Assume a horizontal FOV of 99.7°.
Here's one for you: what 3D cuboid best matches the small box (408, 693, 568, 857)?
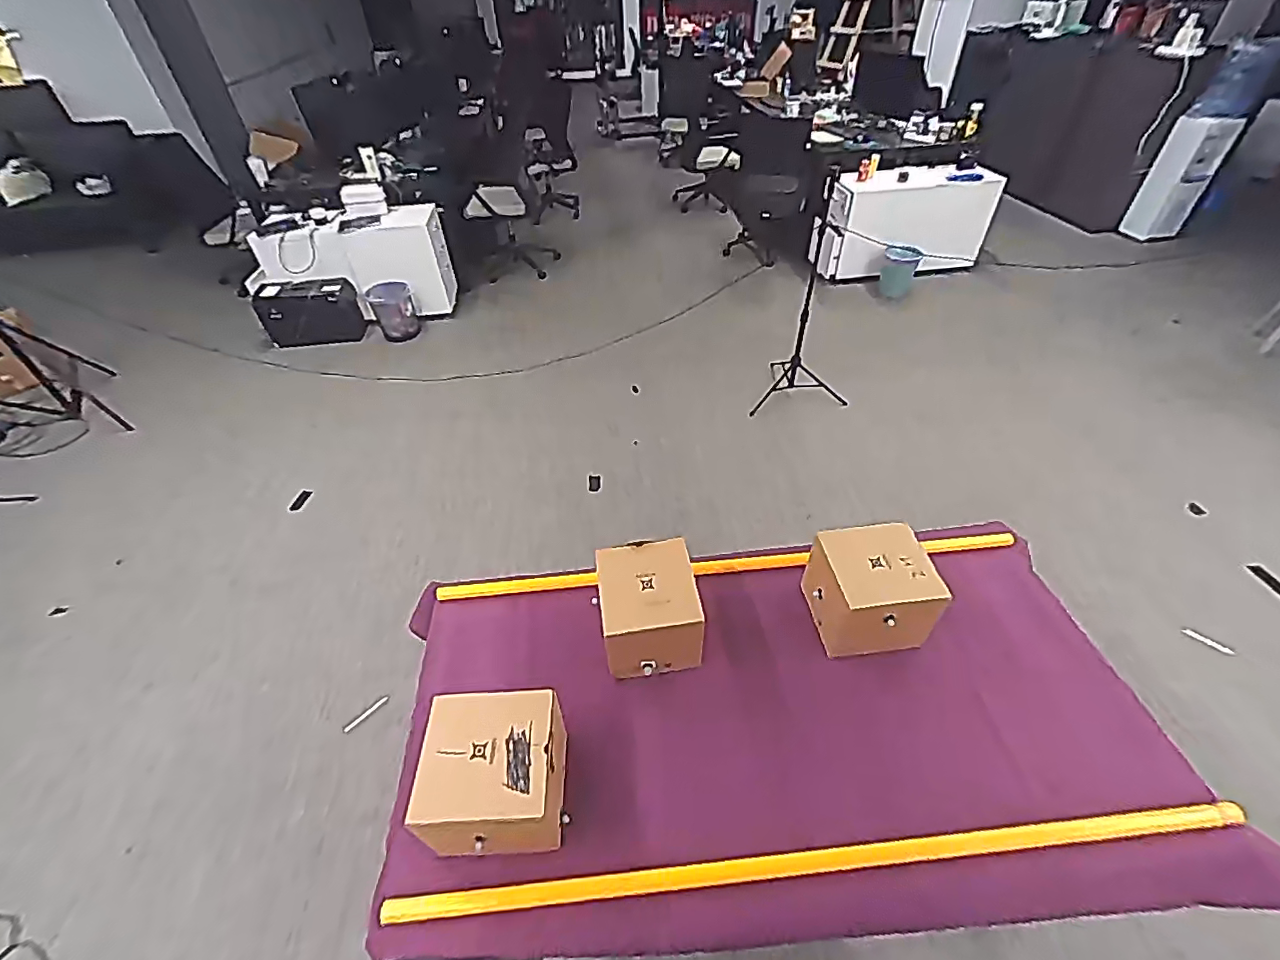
[{"bbox_3d":[-0.201,0.424,0.777,0.179,0.176,0.168,-2,44,-1],"label":"small box"}]

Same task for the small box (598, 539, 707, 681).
[{"bbox_3d":[0.018,0.233,0.971,0.168,0.176,0.179,-8,44,-4],"label":"small box"}]

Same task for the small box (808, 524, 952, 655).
[{"bbox_3d":[0.418,0.202,0.983,0.179,0.176,0.168,-6,45,-3],"label":"small box"}]
